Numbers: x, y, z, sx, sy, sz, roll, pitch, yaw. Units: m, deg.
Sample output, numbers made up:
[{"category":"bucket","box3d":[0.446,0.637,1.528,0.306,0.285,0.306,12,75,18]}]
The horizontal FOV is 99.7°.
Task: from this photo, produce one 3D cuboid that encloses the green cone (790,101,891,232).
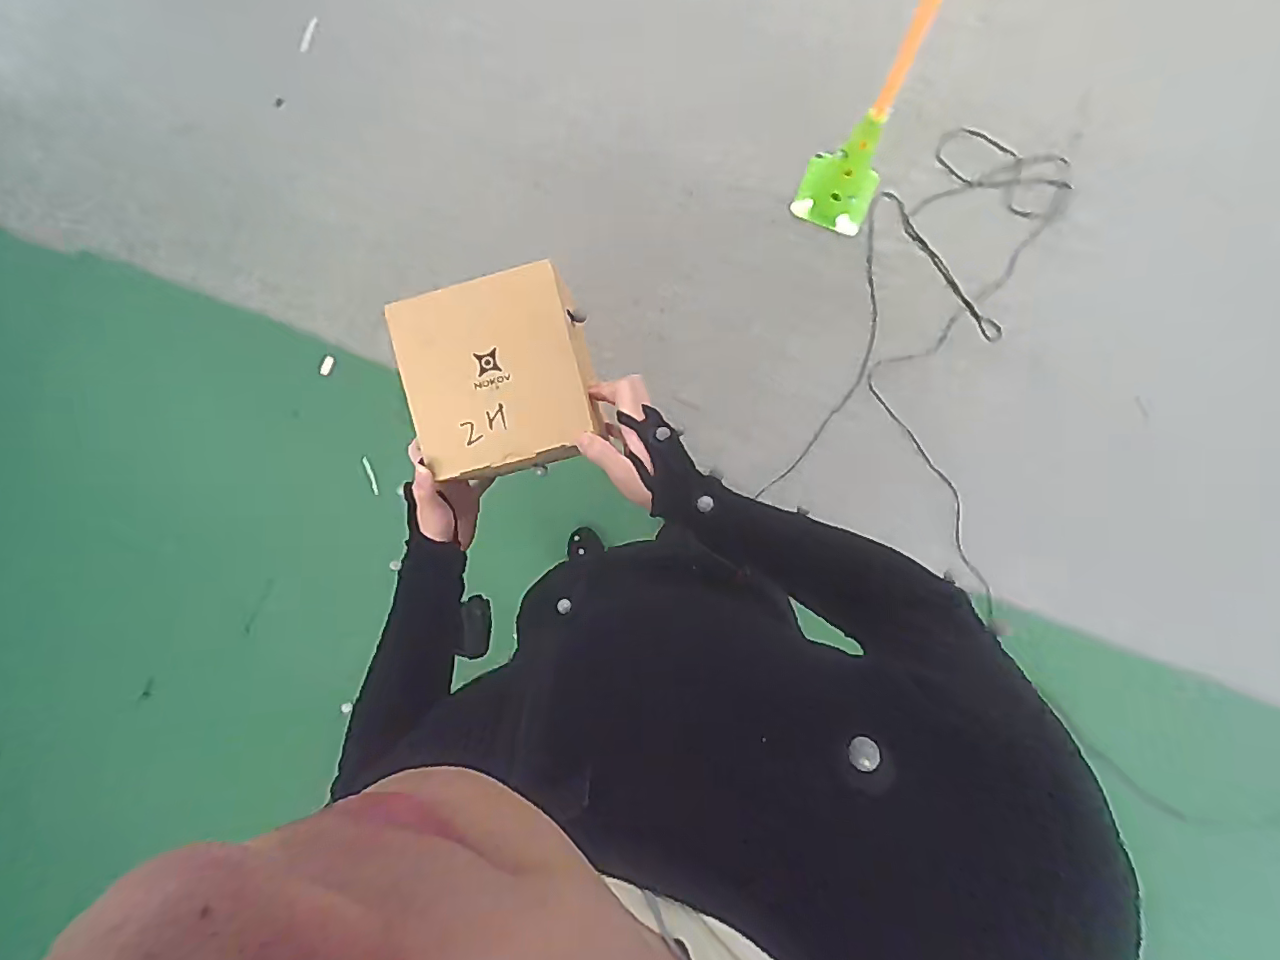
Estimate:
[{"category":"green cone","box3d":[0.547,-0.833,1.390,0.202,0.368,0.200,22,92,2]}]
